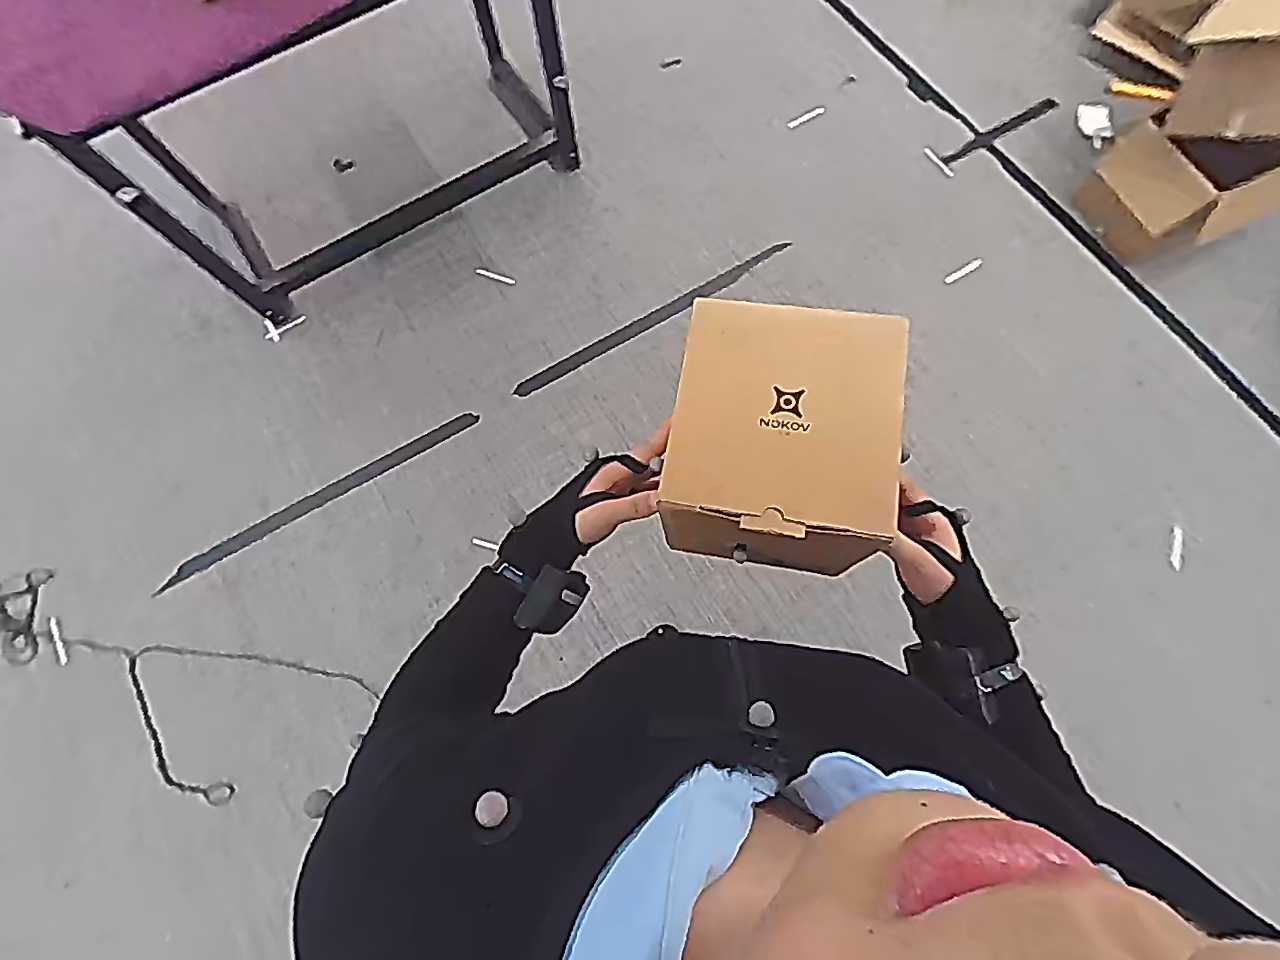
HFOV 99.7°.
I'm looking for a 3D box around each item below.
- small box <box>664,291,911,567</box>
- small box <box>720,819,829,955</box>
[{"bbox_3d":[0.117,-0.033,0.467,0.168,0.176,0.179,7,73,9],"label":"small box"},{"bbox_3d":[0.299,0.920,1.250,0.168,0.176,0.179,-27,76,-6],"label":"small box"}]
